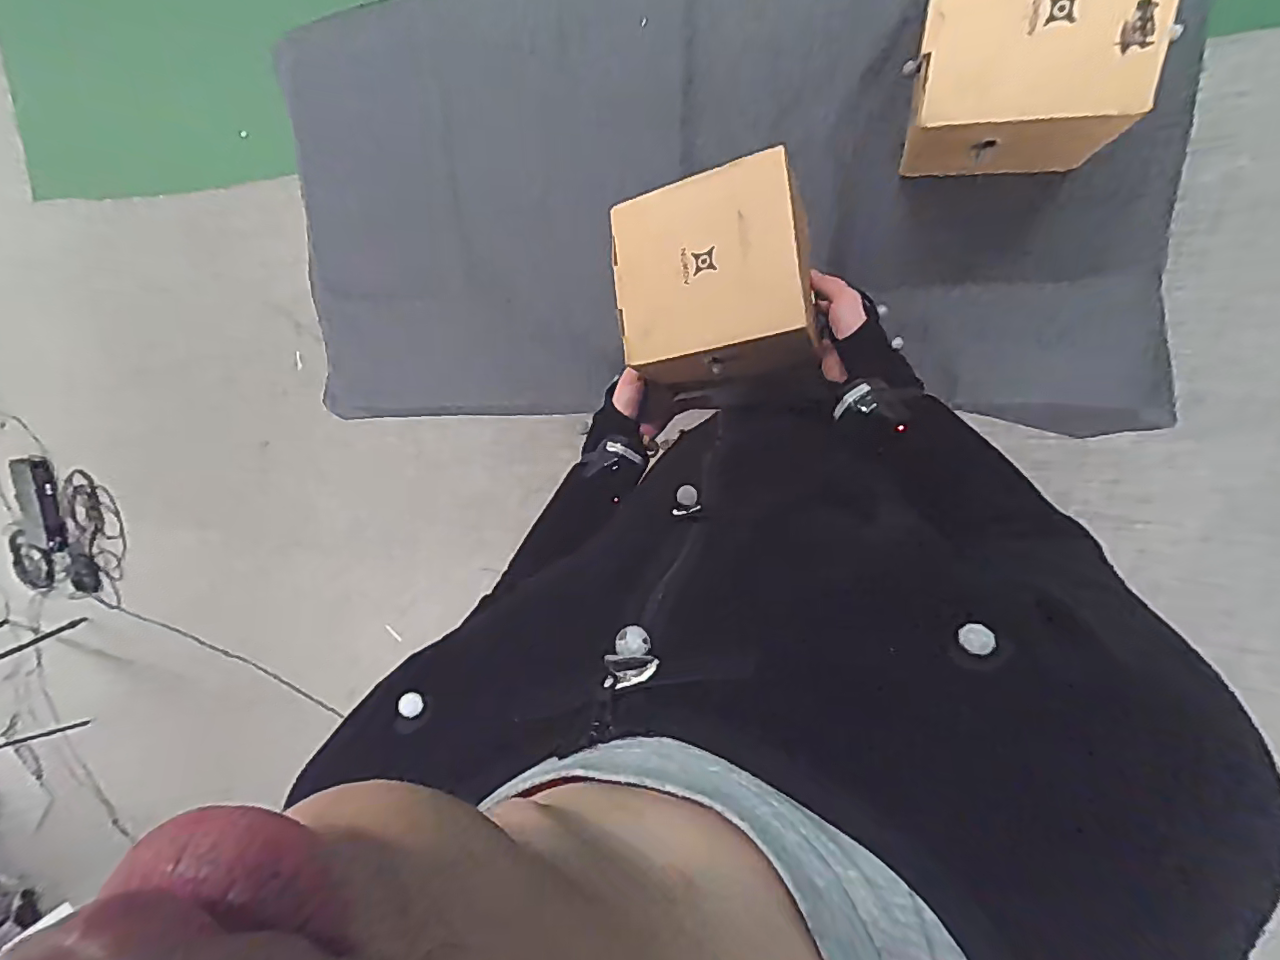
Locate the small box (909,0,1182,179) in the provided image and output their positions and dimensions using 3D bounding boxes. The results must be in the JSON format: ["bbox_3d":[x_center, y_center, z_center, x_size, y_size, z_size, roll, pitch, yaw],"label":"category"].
[{"bbox_3d":[0.370,-0.402,0.520,0.179,0.176,0.168,9,107,20],"label":"small box"}]

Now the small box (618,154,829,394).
[{"bbox_3d":[0.096,-0.195,0.577,0.179,0.176,0.168,-8,86,23],"label":"small box"}]
